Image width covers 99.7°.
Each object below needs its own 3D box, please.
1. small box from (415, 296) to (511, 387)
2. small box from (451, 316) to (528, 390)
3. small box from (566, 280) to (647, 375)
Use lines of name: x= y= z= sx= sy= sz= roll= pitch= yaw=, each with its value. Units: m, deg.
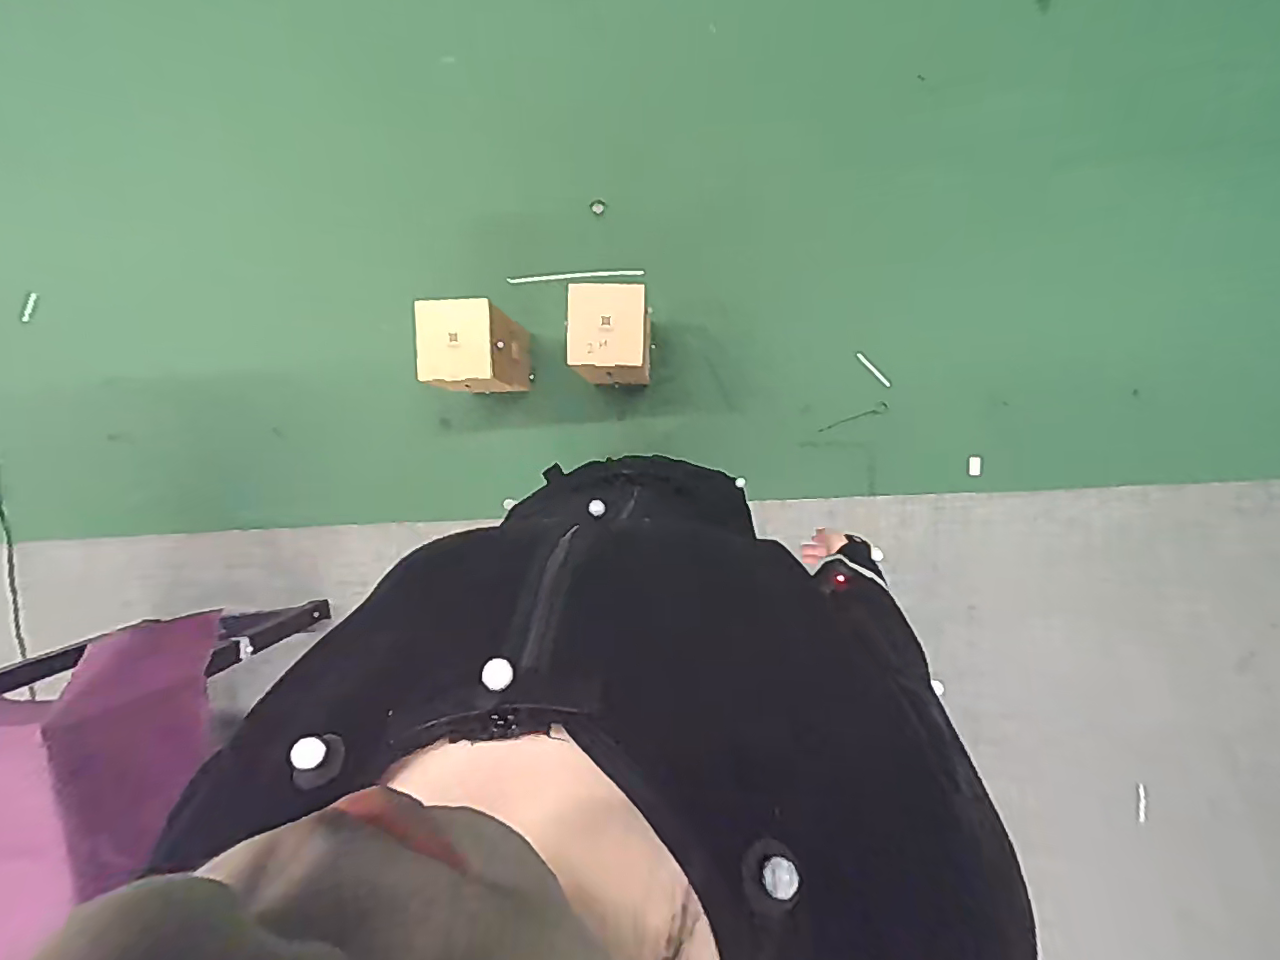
small box: x=-0.403 y=-0.314 z=1.255 sx=0.168 sy=0.176 sz=0.179 roll=-1 pitch=94 yaw=3
small box: x=-0.395 y=-0.327 z=1.417 sx=0.179 sy=0.176 sz=0.168 roll=-1 pitch=93 yaw=4
small box: x=-0.072 y=-0.342 z=1.233 sx=0.168 sy=0.176 sz=0.179 roll=2 pitch=94 yaw=3
